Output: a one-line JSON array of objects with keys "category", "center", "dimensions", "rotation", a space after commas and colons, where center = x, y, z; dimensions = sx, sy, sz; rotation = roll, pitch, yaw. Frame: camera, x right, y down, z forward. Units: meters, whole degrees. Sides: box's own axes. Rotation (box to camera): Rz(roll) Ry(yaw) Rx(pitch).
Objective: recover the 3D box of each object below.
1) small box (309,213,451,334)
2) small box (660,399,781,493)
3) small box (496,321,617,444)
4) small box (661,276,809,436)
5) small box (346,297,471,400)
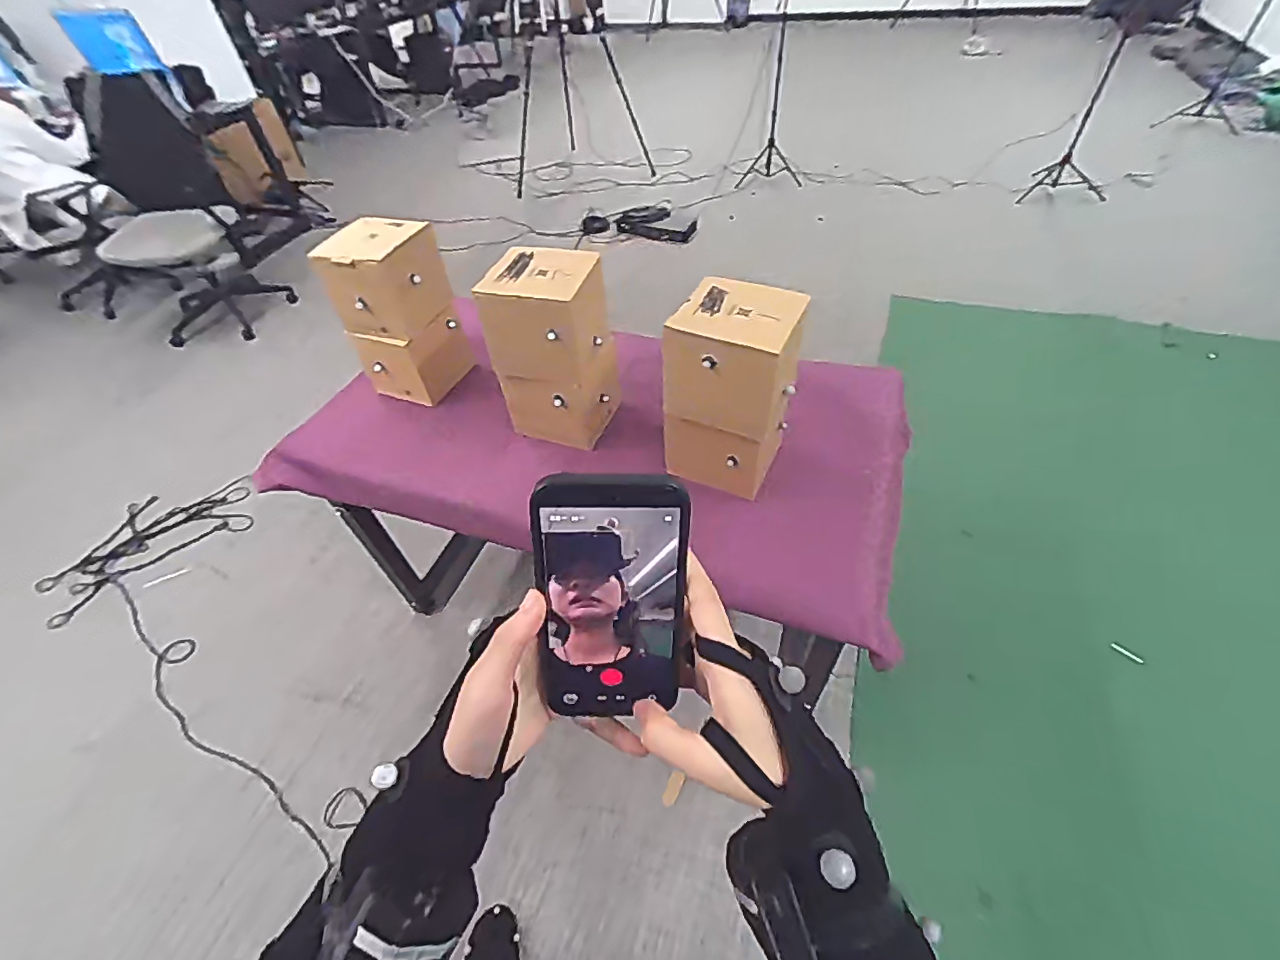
[{"category": "small box", "center": [-0.516, -0.421, 1.107], "dimensions": [0.168, 0.176, 0.179], "rotation": [12, 51, 13]}, {"category": "small box", "center": [0.152, -0.099, 0.992], "dimensions": [0.179, 0.176, 0.168], "rotation": [20, 52, 21]}, {"category": "small box", "center": [-0.157, -0.195, 1.098], "dimensions": [0.179, 0.176, 0.168], "rotation": [15, 51, 17]}, {"category": "small box", "center": [0.146, -0.195, 0.859], "dimensions": [0.179, 0.176, 0.168], "rotation": [20, 53, 20]}, {"category": "small box", "center": [-0.510, -0.306, 1.225], "dimensions": [0.168, 0.176, 0.179], "rotation": [16, 51, 17]}]
